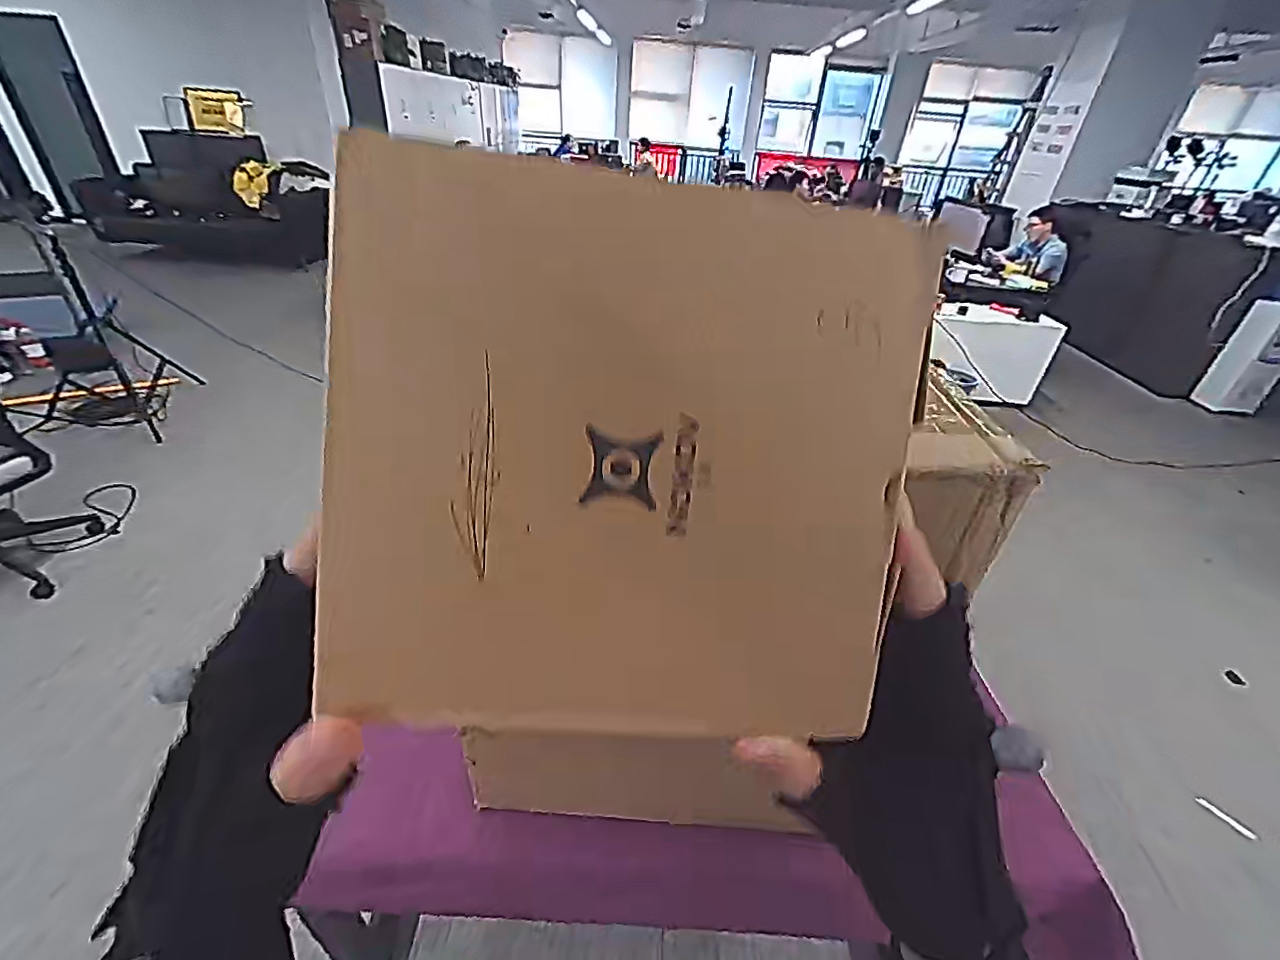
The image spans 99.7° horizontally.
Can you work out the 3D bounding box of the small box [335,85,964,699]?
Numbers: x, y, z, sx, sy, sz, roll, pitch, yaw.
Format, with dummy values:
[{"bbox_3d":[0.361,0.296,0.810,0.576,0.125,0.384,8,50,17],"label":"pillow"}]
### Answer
[{"bbox_3d":[-0.004,-0.024,0.238,0.179,0.168,0.176,4,5,-6],"label":"small box"}]
